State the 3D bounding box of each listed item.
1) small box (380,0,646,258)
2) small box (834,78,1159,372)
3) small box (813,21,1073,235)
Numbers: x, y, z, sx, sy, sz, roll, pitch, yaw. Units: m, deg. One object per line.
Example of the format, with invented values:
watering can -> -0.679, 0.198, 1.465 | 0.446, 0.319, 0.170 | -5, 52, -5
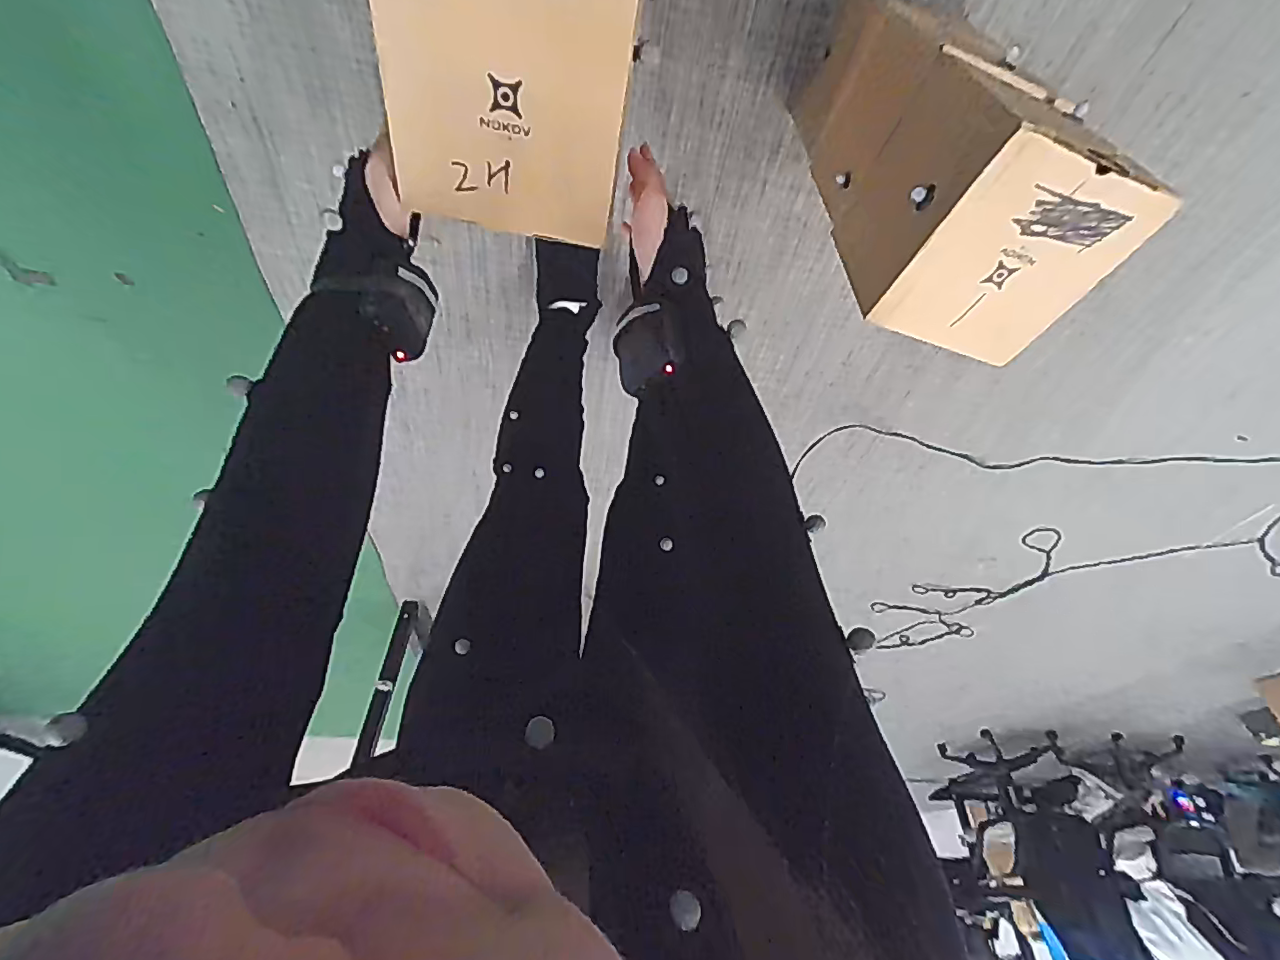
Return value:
small box -> -0.091, -0.317, 0.440 | 0.168, 0.176, 0.179 | 9, 141, -6
small box -> 0.311, -0.241, 0.520 | 0.168, 0.176, 0.179 | 13, 142, -14
small box -> 0.318, -0.375, 0.615 | 0.168, 0.176, 0.179 | 12, 141, -13
